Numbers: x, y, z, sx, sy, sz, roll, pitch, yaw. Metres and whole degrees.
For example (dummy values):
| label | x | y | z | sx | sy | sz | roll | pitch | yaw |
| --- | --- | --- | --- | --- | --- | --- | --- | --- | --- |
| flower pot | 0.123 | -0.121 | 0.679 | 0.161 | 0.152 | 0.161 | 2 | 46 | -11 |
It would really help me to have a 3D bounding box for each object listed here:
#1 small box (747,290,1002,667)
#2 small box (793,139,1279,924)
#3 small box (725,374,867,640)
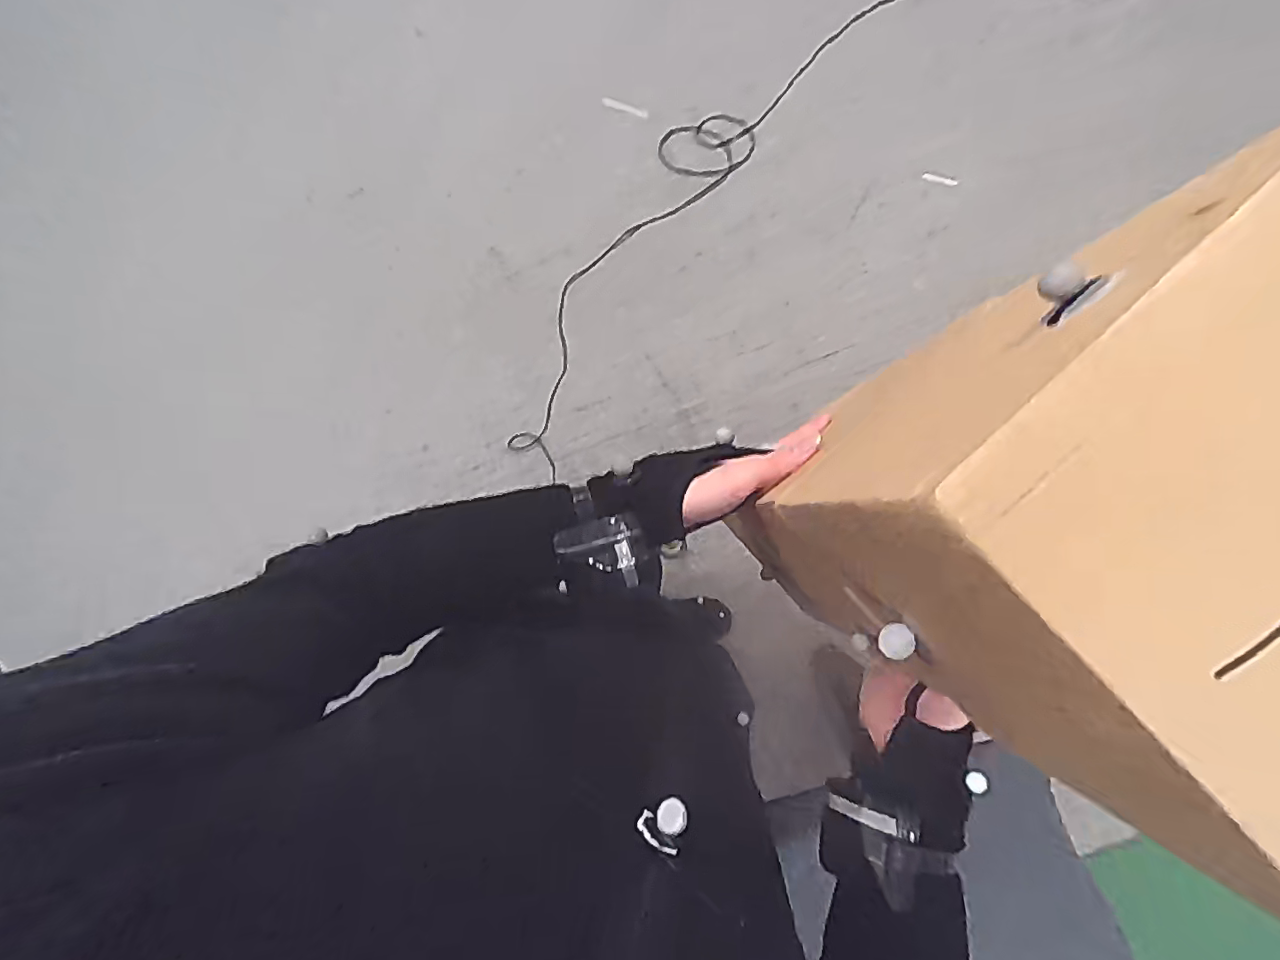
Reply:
| label | x | y | z | sx | sy | sz | roll | pitch | yaw |
| --- | --- | --- | --- | --- | --- | --- | --- | --- | --- |
| small box | 0.193 | 0.015 | 0.375 | 0.179 | 0.176 | 0.168 | -44 | 87 | -3 |
| small box | 0.189 | 0.009 | 0.211 | 0.179 | 0.176 | 0.168 | -43 | 86 | -1 |
| small box | 0.200 | 0.025 | 0.537 | 0.179 | 0.176 | 0.168 | -43 | 86 | -2 |
